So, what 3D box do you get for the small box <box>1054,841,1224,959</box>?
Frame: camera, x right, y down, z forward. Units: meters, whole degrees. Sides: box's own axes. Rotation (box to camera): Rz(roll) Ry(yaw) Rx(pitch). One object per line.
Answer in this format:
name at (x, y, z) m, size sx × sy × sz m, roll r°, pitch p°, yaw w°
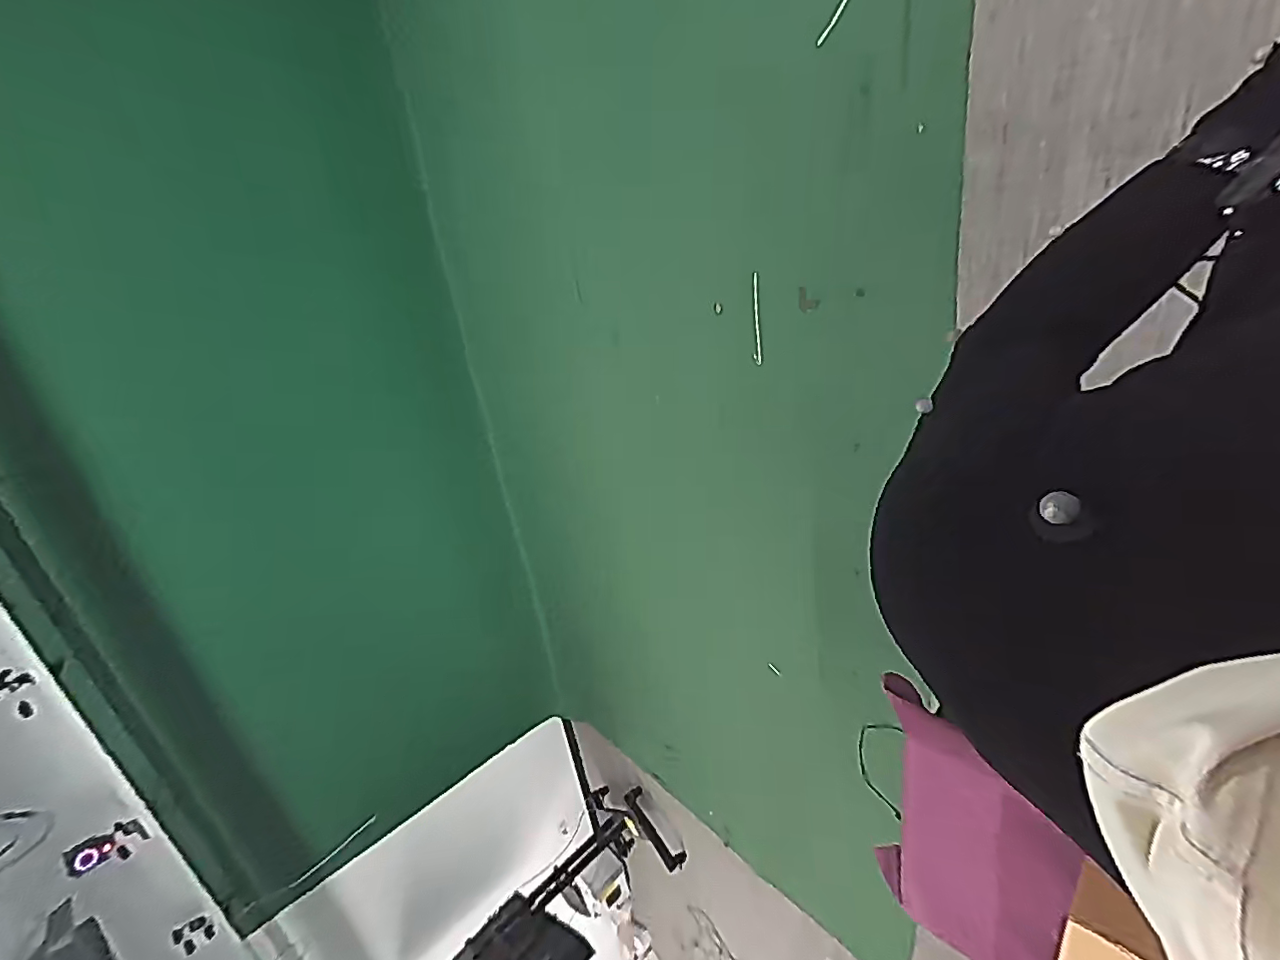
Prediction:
small box at (0.786, 0.737, 0.858) m, size 0.168 × 0.176 × 0.179 m, roll 15°, pitch 123°, yaw 46°
